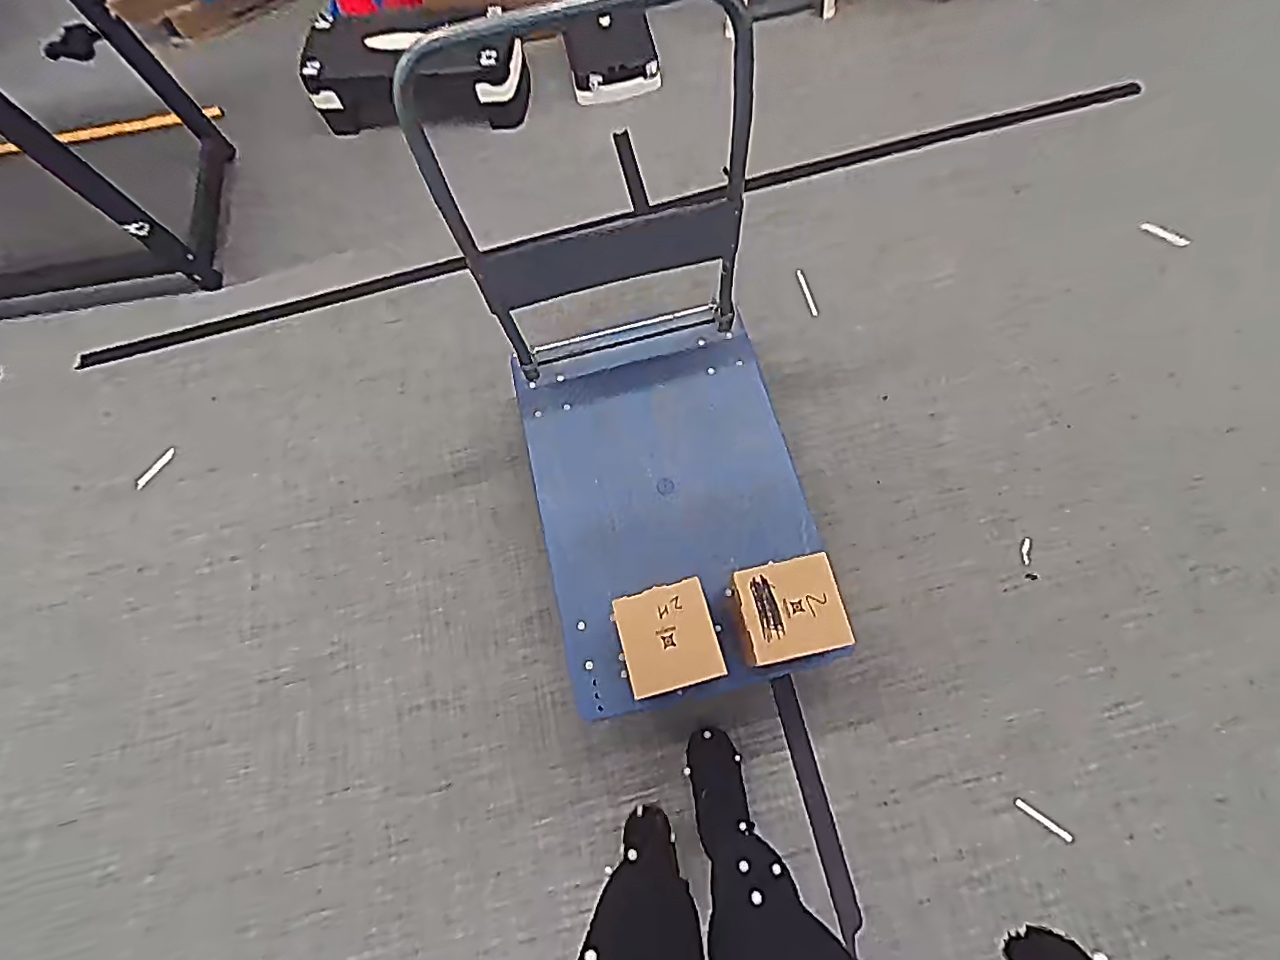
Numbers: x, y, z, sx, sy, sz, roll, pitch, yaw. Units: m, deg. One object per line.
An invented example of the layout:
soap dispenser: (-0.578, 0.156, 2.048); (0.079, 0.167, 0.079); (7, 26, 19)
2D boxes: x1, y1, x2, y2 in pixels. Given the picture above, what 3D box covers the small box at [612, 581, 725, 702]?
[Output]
small box: (0.054, 0.303, 1.023); (0.168, 0.176, 0.179); (-15, 71, -1)
